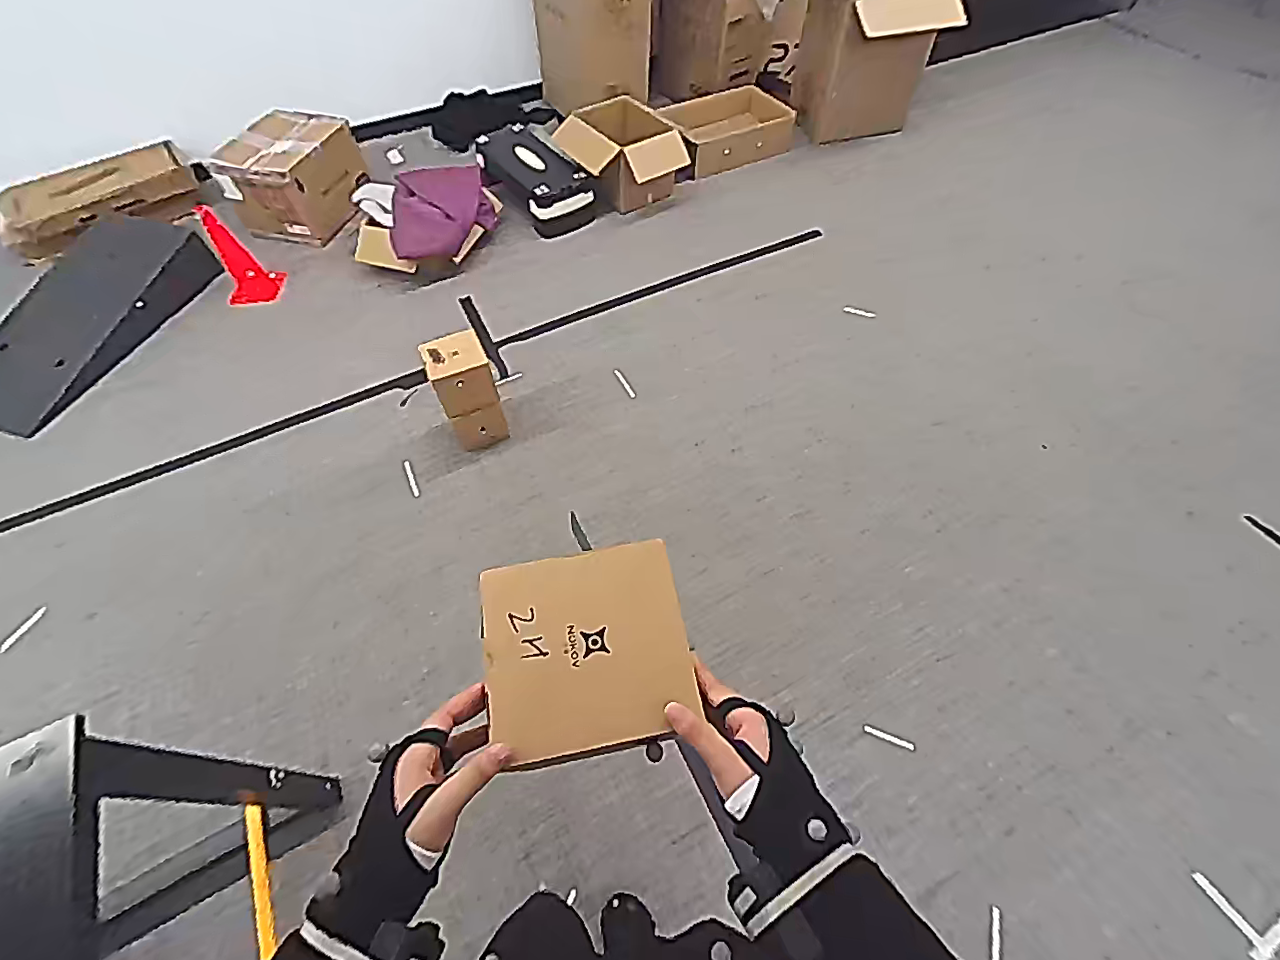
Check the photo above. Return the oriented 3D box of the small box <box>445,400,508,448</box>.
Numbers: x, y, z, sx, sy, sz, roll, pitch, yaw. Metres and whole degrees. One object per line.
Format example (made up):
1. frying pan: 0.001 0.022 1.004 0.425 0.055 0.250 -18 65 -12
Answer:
1. small box: -0.553 -0.227 1.797 0.168 0.176 0.179 -22 60 -13

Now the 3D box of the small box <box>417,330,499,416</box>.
1. small box: -0.556 -0.324 1.662 0.179 0.176 0.168 -22 59 -14

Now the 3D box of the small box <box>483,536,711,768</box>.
1. small box: -0.042 0.172 0.528 0.179 0.176 0.168 -10 63 -5
